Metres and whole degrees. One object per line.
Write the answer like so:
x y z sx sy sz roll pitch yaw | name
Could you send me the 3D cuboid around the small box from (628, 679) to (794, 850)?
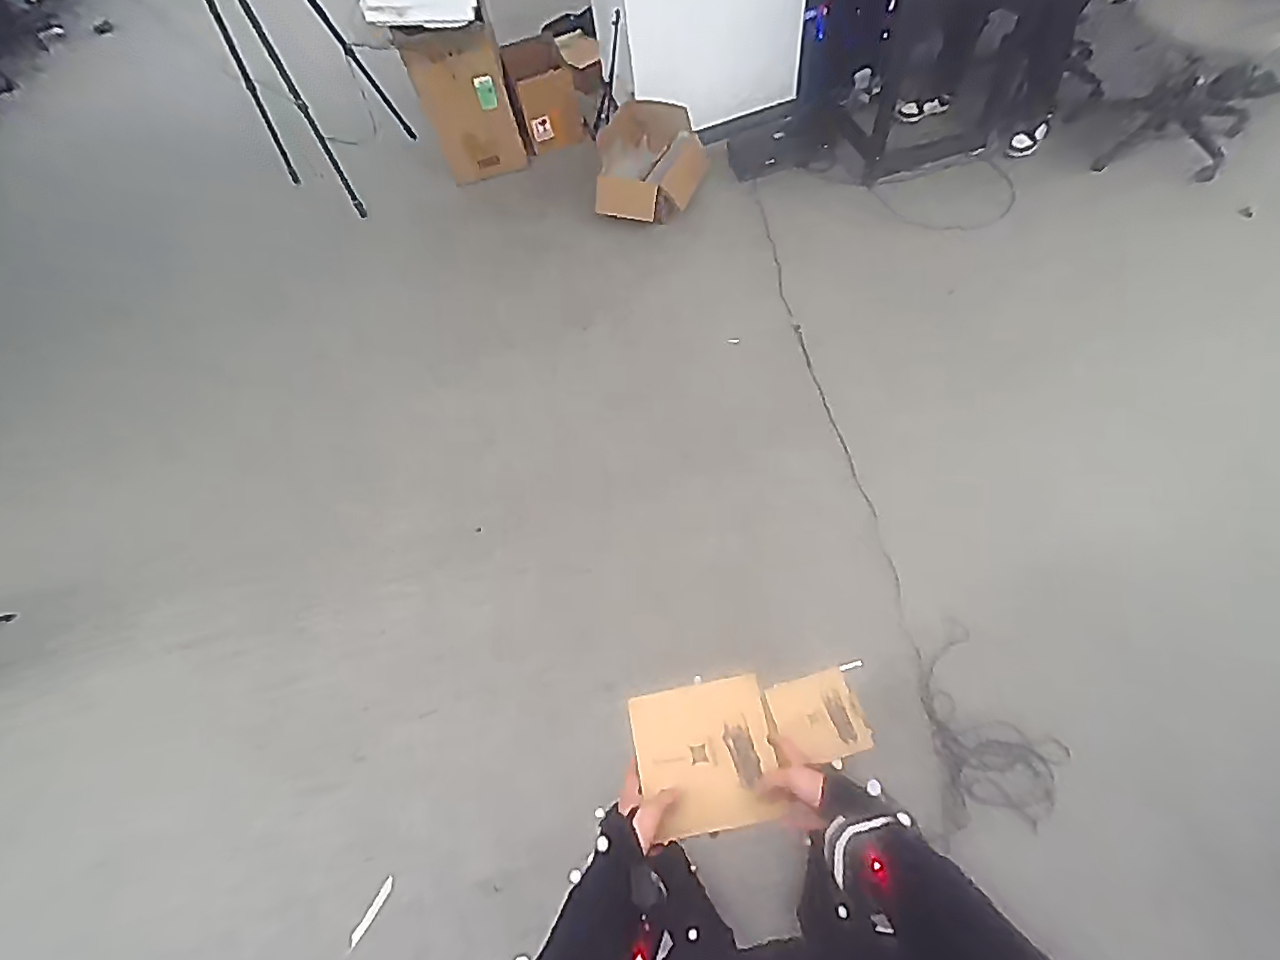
0.087 0.378 0.736 0.179 0.176 0.168 -12 63 -1 | small box
